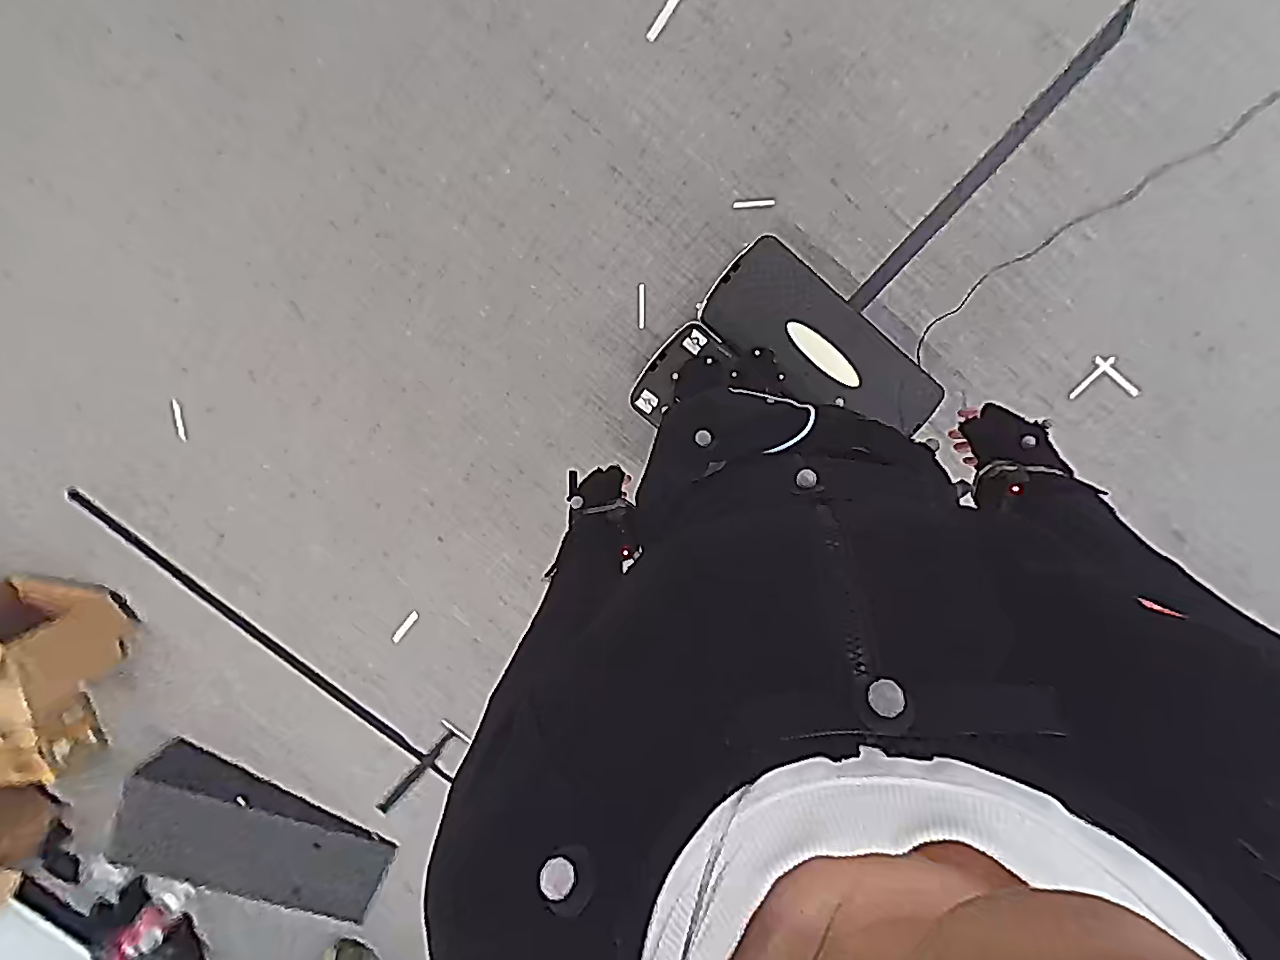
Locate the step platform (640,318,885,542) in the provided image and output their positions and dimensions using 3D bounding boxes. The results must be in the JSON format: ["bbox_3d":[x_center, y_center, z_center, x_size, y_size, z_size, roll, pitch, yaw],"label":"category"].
[{"bbox_3d":[0.330,-0.135,1.501,0.684,0.204,0.286,39,105,-3],"label":"step platform"}]
